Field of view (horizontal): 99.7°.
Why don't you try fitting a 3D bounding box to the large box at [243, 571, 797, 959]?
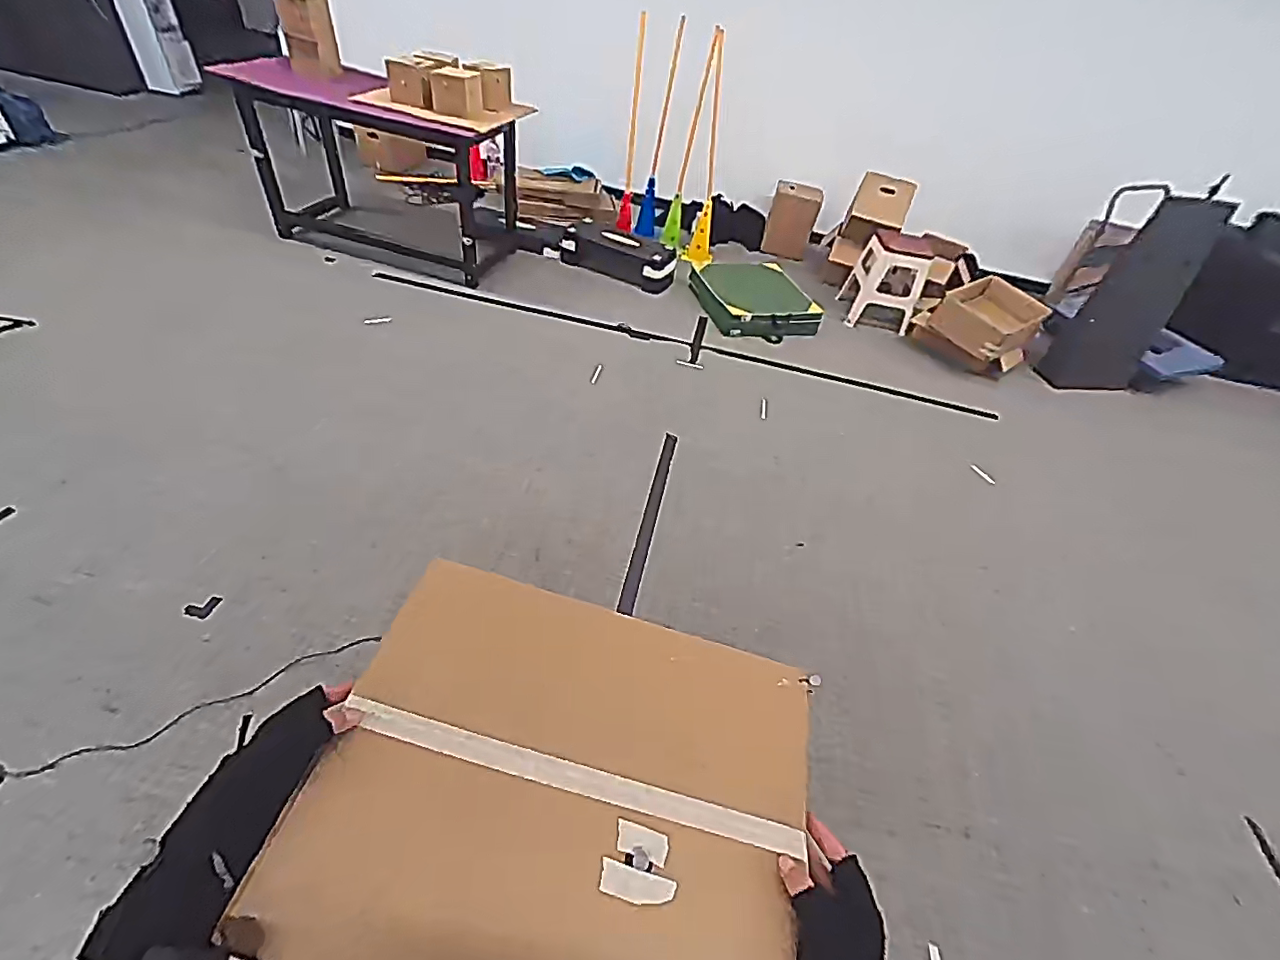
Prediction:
[{"bbox_3d":[-0.085,0.351,0.581,0.408,0.320,0.320,17,49,-1],"label":"large box"}]
